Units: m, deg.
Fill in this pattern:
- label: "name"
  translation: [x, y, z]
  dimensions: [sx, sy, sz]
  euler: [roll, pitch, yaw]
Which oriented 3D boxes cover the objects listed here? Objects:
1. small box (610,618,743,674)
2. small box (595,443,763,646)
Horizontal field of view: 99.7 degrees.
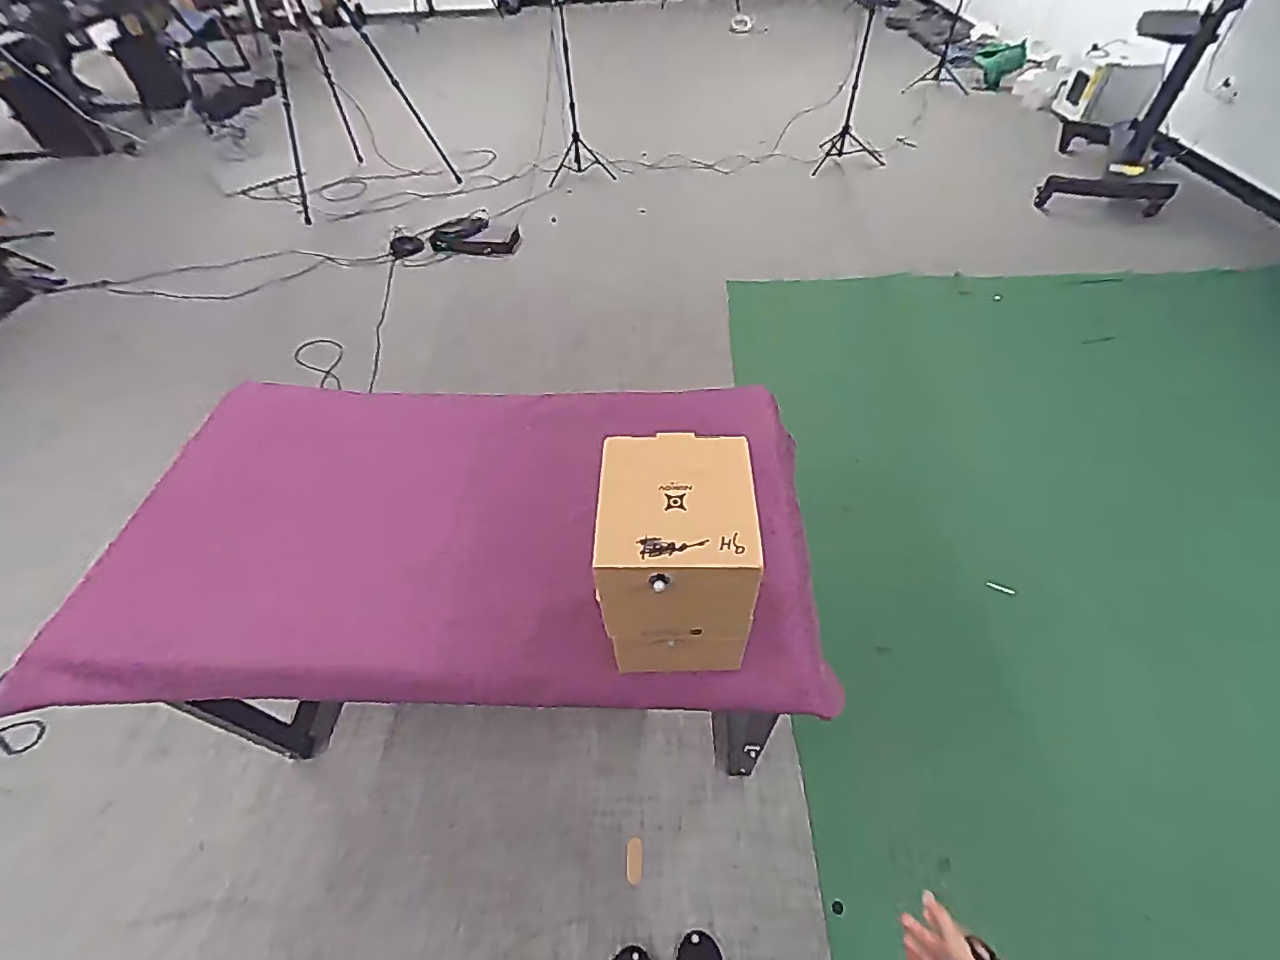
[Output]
- label: "small box"
  translation: [0.054, 0.167, 0.770]
  dimensions: [0.179, 0.176, 0.168]
  euler: [-2, 50, 2]
- label: "small box"
  translation: [0.044, 0.075, 0.634]
  dimensions: [0.168, 0.176, 0.179]
  euler: [-1, 49, 4]
